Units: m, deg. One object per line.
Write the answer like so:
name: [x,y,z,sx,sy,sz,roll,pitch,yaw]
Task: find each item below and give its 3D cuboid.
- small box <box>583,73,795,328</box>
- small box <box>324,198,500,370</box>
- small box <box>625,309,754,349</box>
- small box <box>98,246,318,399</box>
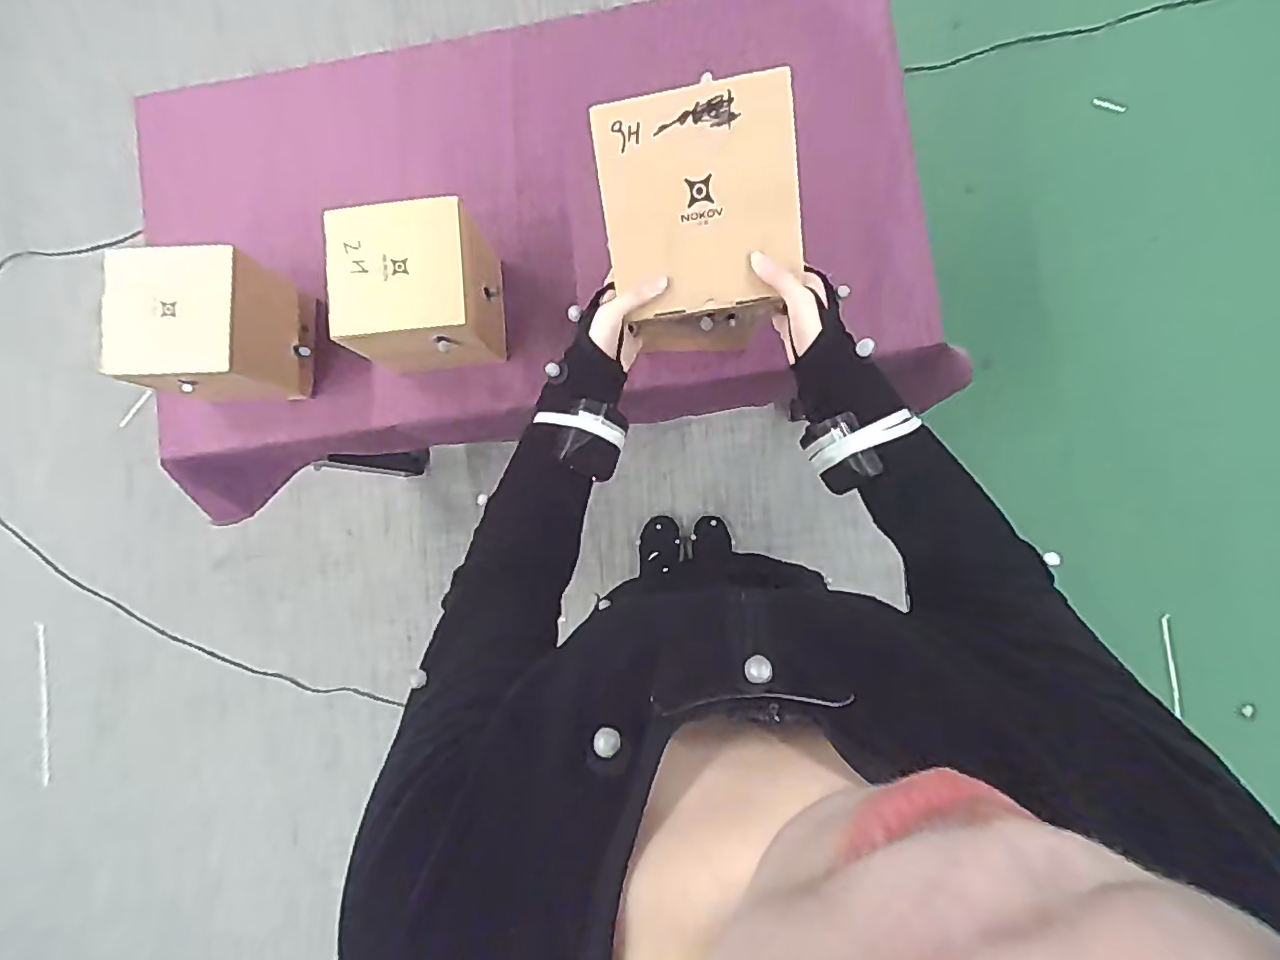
small box: [0.053,-0.253,0.534,0.168,0.176,0.179,-7,105,8]
small box: [-0.301,-0.259,0.749,0.179,0.176,0.168,-5,86,3]
small box: [0.063,-0.281,0.728,0.179,0.176,0.168,-1,86,3]
small box: [-0.598,-0.212,0.766,0.179,0.176,0.168,0,87,3]
